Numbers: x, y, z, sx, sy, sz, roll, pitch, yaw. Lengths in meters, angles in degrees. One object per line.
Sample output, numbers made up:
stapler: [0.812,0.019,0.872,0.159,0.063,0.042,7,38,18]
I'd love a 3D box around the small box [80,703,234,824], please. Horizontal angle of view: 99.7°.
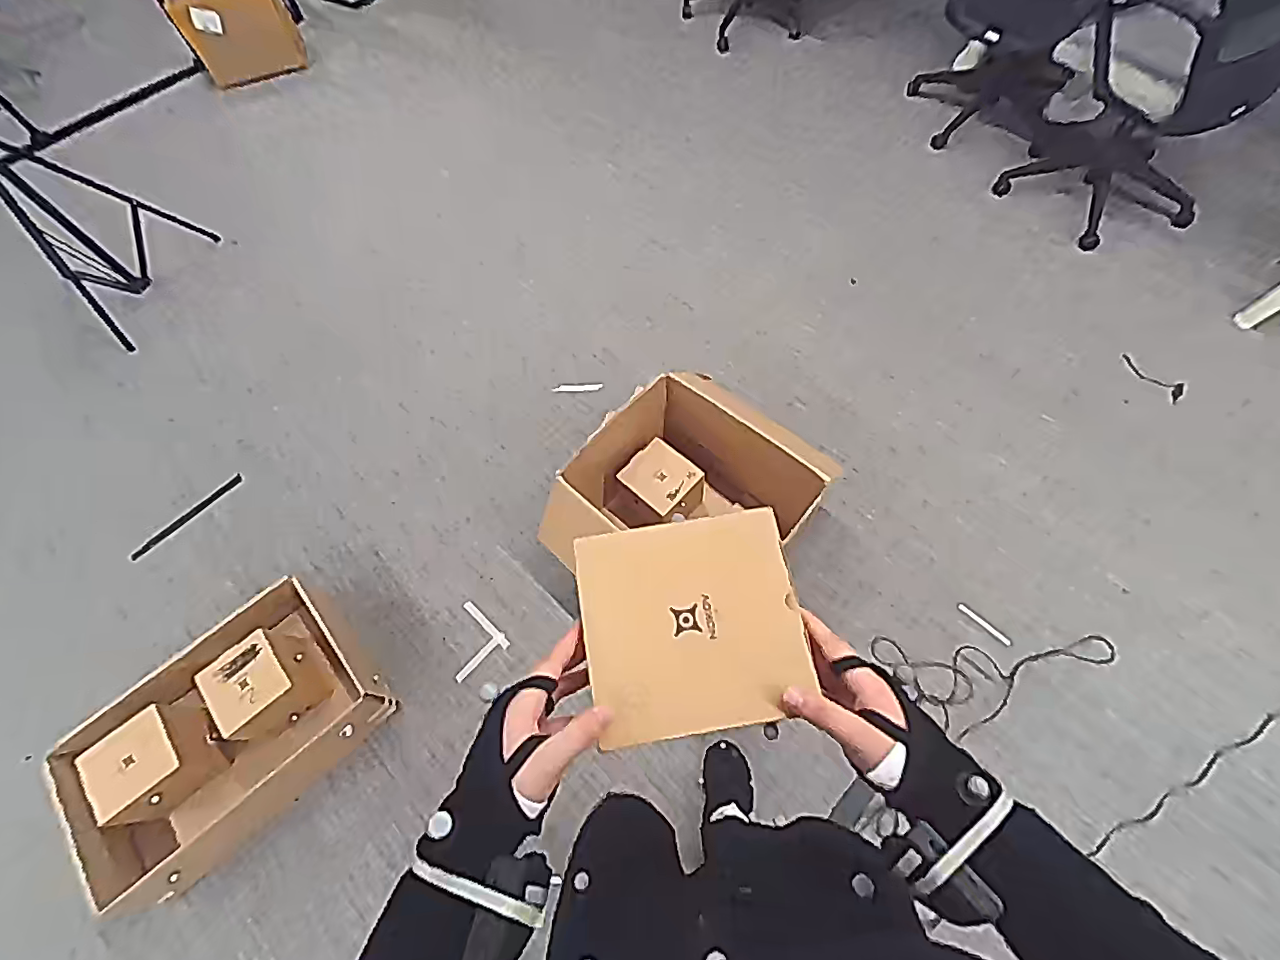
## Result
small box: [-1.091,0.640,1.234,0.179,0.176,0.168,-39,70,-16]

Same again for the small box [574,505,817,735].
small box: [0.041,0.139,0.516,0.179,0.176,0.168,-9,68,-4]
